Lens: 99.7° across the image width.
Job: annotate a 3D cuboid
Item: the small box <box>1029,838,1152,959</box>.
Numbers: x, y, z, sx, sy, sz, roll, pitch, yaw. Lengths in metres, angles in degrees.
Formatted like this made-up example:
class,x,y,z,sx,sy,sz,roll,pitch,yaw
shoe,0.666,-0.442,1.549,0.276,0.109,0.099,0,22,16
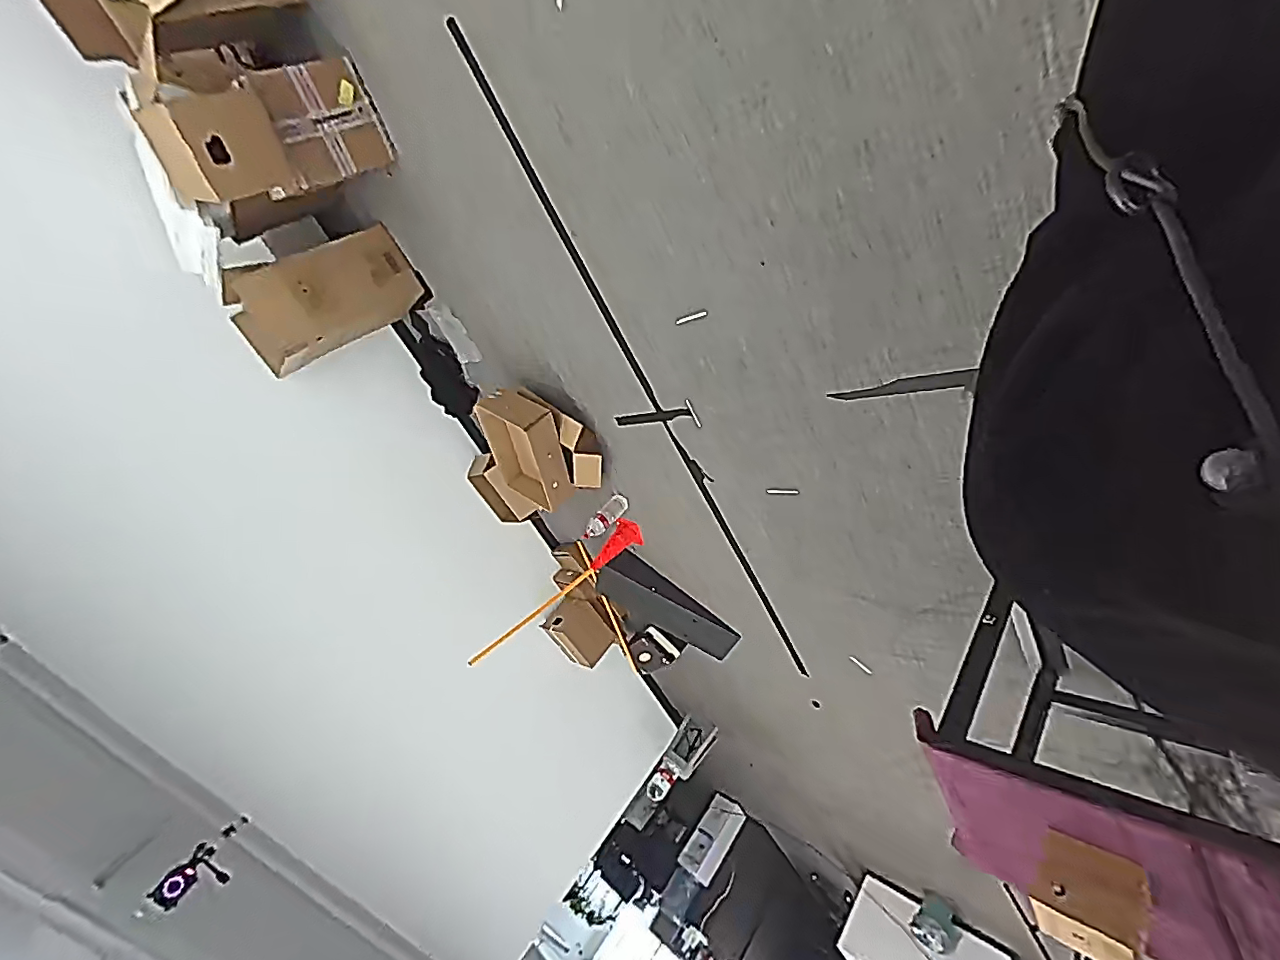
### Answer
class,x,y,z,sx,sy,sz,roll,pitch,yaw
small box,0.983,0.927,1.179,0.179,0.176,0.168,1,129,49
